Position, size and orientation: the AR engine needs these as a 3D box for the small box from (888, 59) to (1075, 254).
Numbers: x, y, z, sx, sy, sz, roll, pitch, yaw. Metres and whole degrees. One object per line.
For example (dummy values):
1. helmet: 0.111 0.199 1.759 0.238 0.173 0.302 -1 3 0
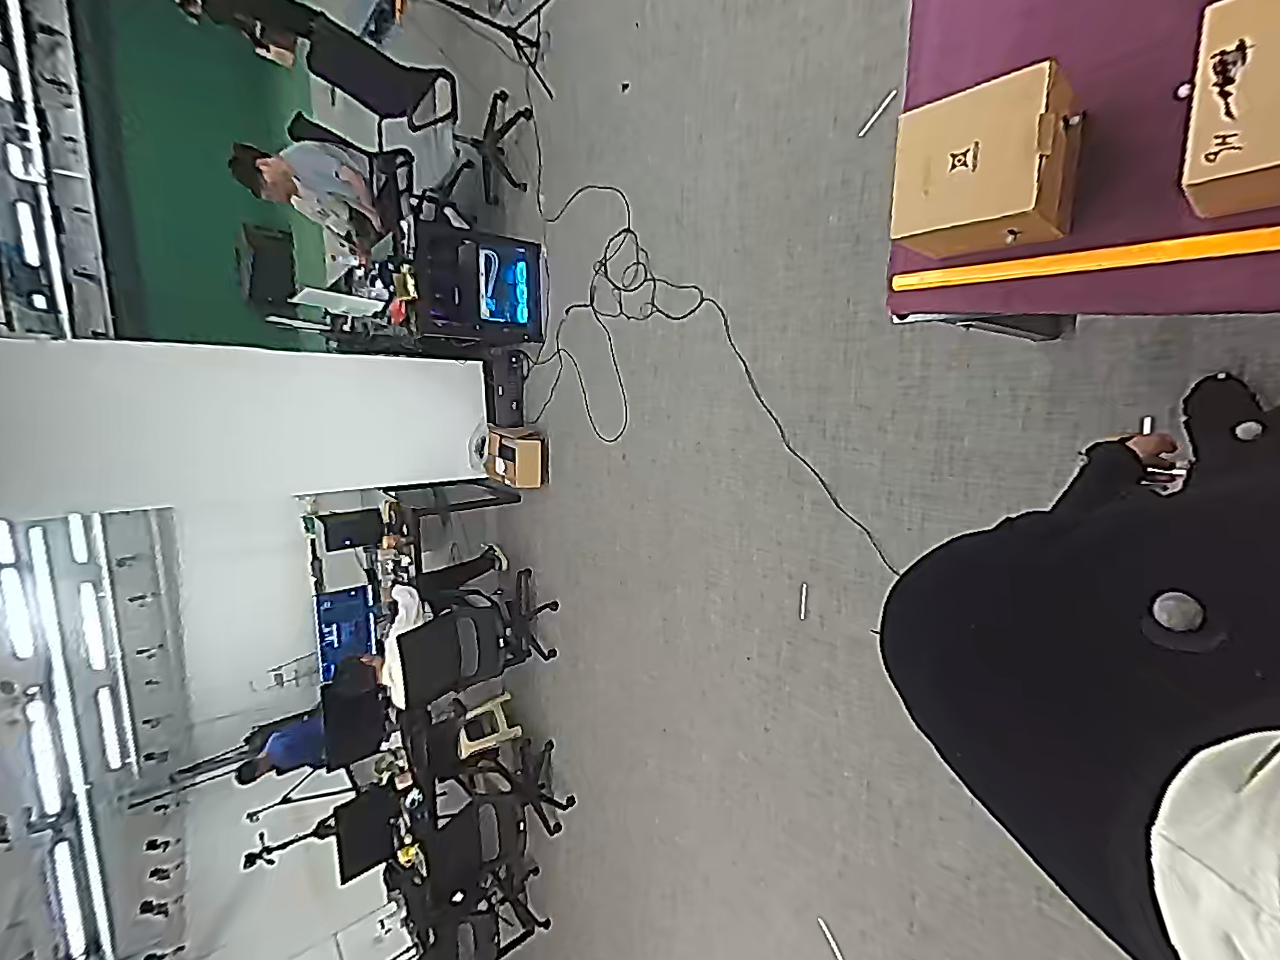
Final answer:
1. small box: 0.469 -0.423 0.743 0.179 0.176 0.168 11 103 47

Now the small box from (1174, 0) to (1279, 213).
1. small box: 0.659 -0.378 0.522 0.179 0.176 0.168 11 104 49
